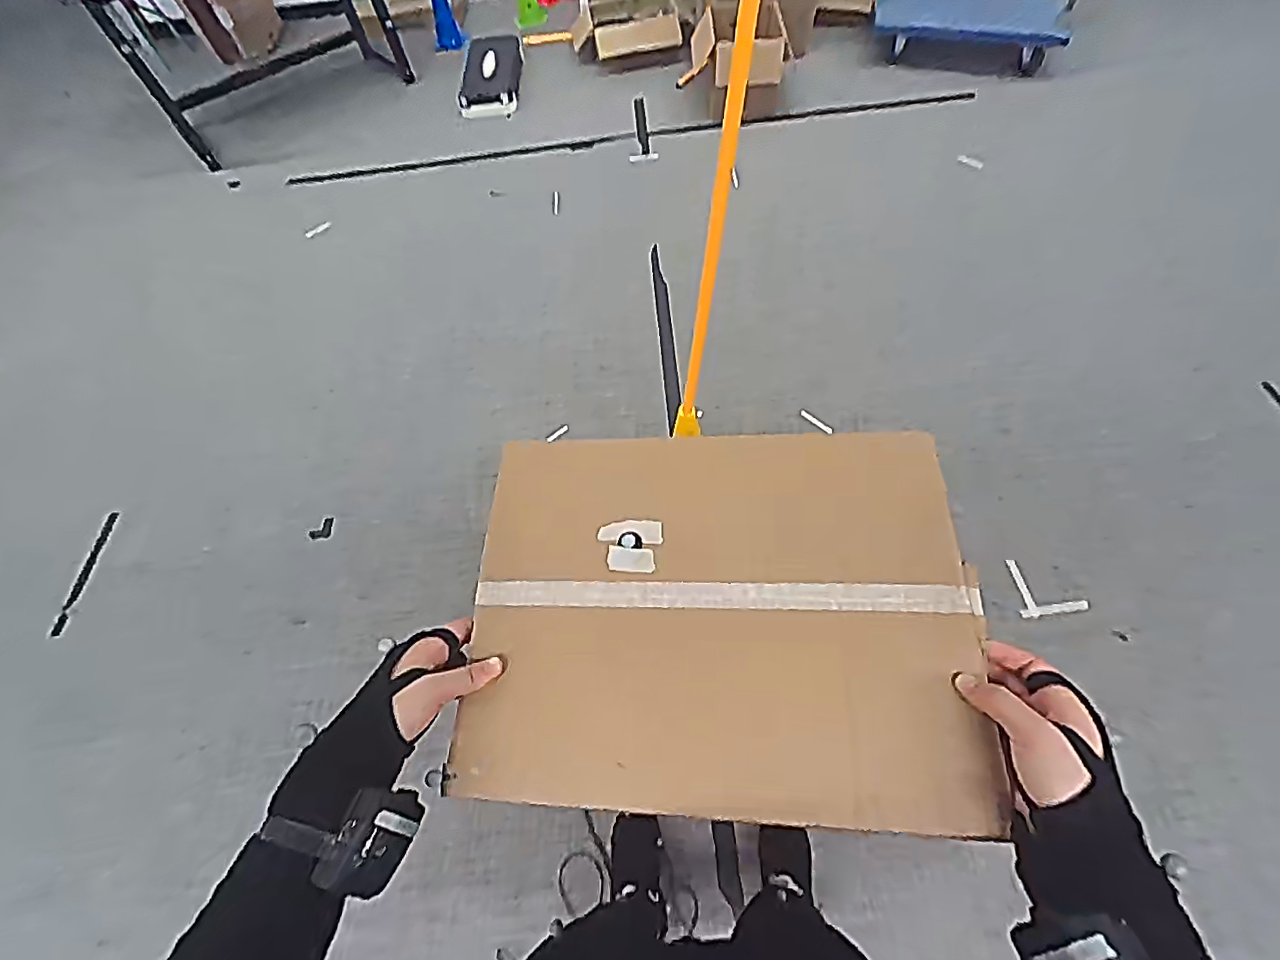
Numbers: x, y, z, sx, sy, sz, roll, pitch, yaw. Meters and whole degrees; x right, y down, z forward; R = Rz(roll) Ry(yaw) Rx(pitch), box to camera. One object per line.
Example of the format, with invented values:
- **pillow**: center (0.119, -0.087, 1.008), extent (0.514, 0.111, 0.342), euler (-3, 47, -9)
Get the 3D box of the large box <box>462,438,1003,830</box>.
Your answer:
- **large box**: center (0.083, 0.173, 0.593), extent (0.408, 0.320, 0.320), euler (-2, 62, 10)
